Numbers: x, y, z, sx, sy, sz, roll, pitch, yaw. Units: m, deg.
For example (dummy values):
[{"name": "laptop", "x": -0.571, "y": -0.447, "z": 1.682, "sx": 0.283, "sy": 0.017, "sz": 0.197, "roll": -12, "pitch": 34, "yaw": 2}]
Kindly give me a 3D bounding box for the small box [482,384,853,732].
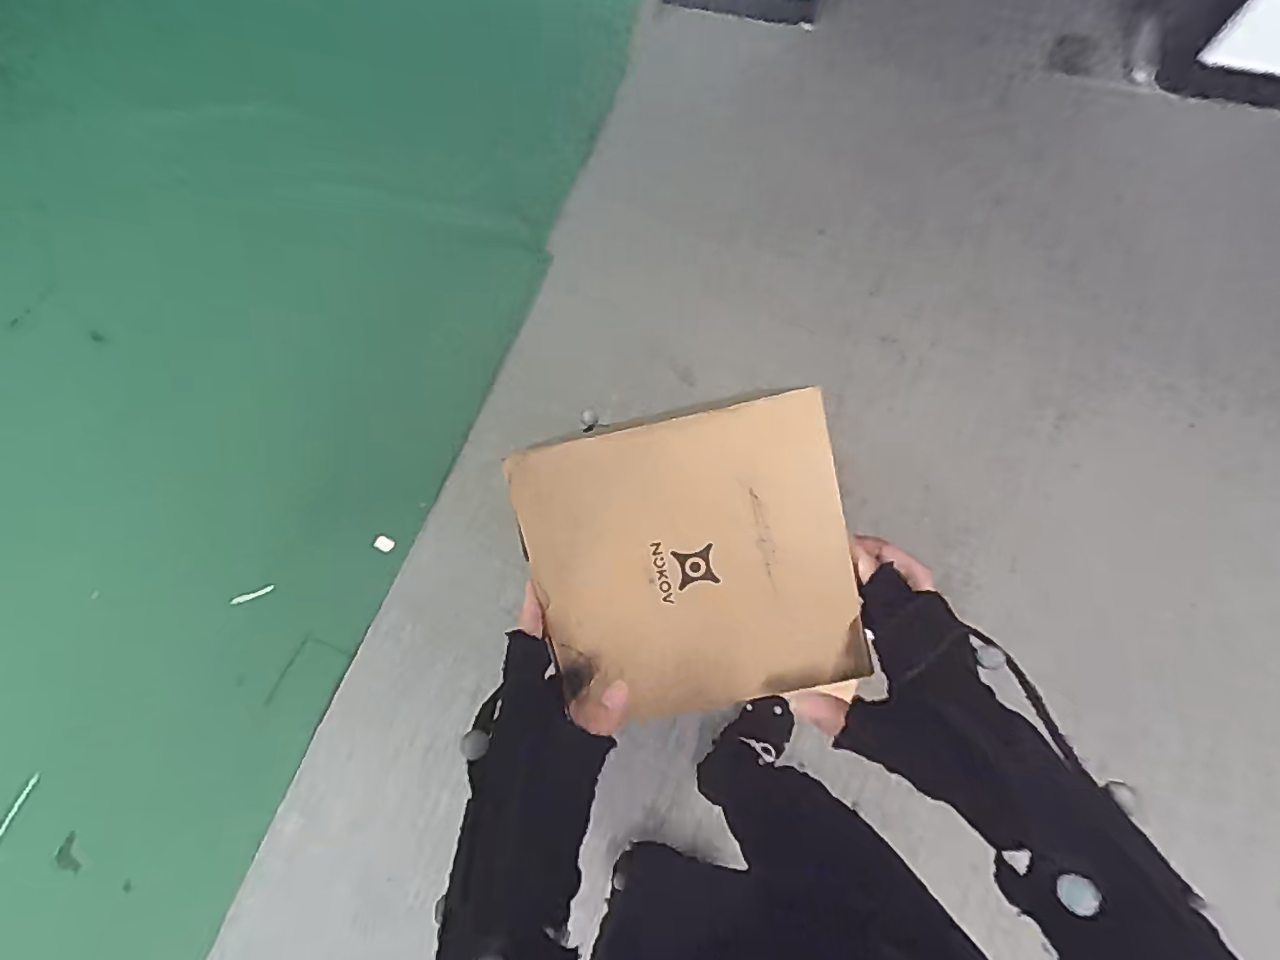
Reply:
[{"name": "small box", "x": 0.019, "y": 0.036, "z": 0.374, "sx": 0.179, "sy": 0.176, "sz": 0.168, "roll": -14, "pitch": 99, "yaw": 3}]
